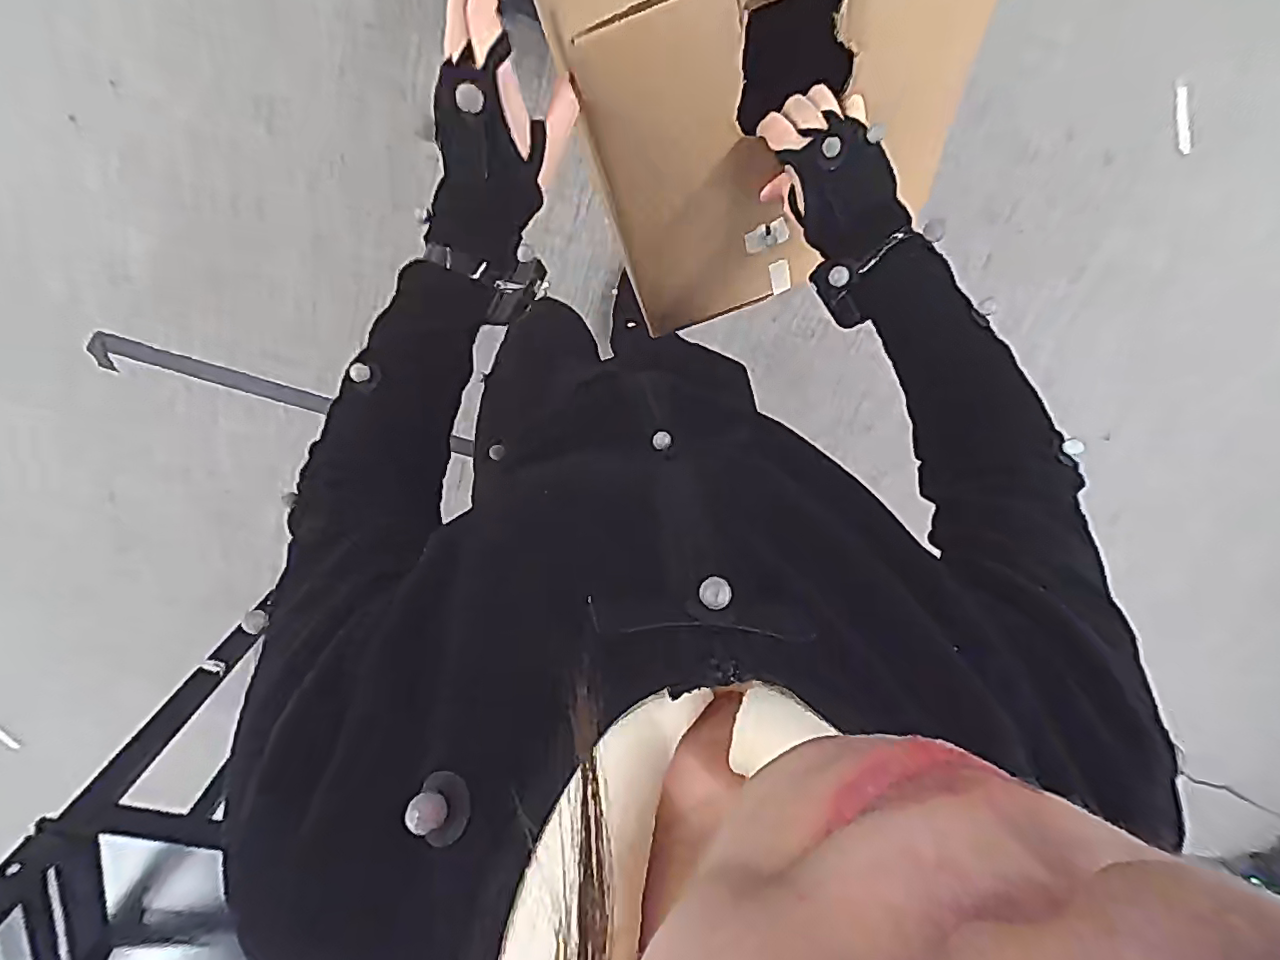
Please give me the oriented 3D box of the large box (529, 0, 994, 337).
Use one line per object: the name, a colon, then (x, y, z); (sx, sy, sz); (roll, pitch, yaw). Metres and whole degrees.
large box: (0.077, -0.432, 0.548); (0.320, 0.408, 0.320); (-20, 154, 4)
